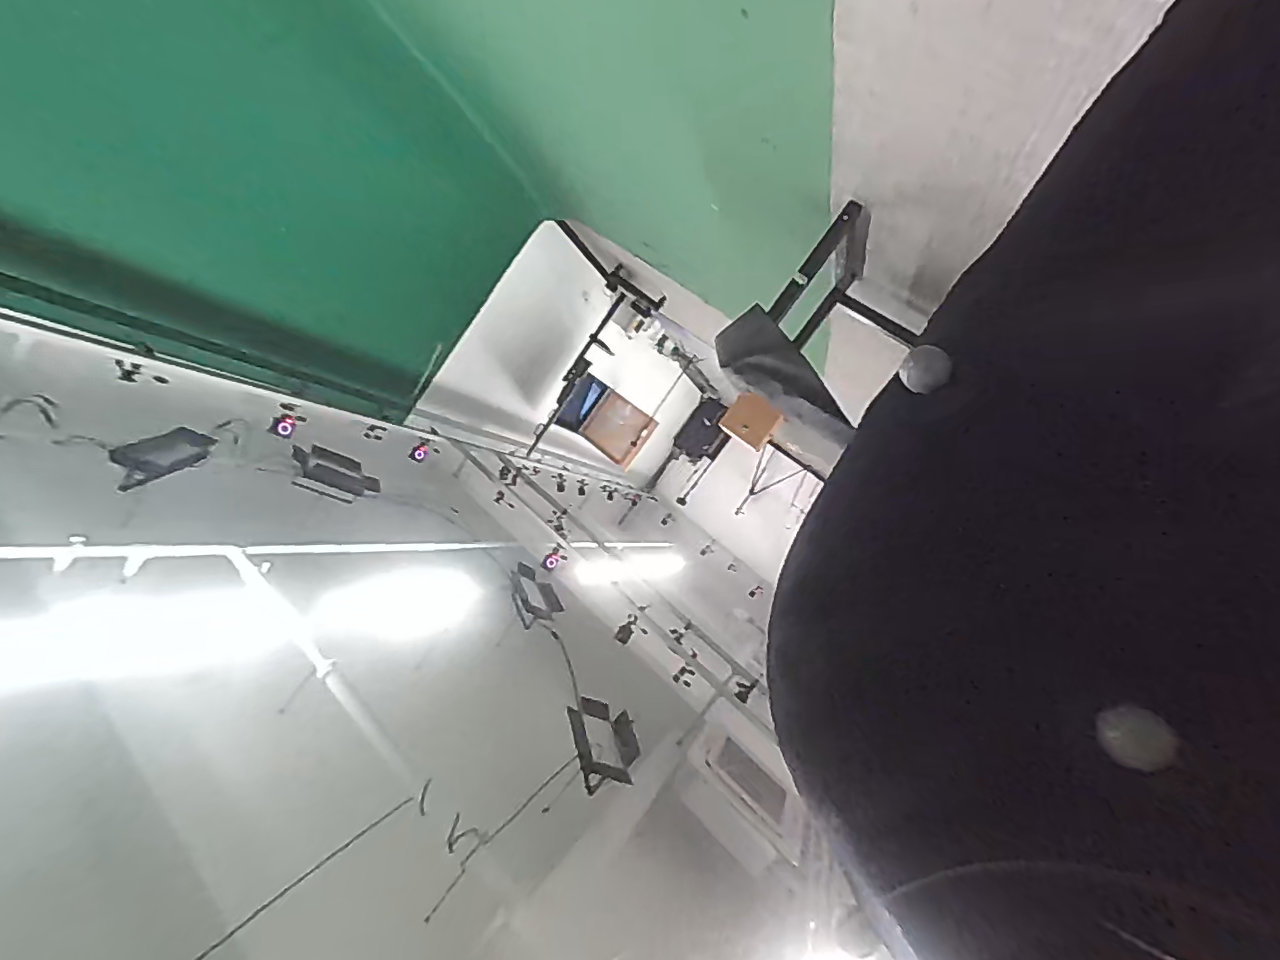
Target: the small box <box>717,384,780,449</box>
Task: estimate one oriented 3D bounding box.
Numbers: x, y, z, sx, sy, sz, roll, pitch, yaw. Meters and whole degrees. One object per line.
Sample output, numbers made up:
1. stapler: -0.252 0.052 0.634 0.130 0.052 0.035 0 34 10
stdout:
1. small box: 0.421 -0.242 2.071 0.179 0.176 0.168 38 -174 13
